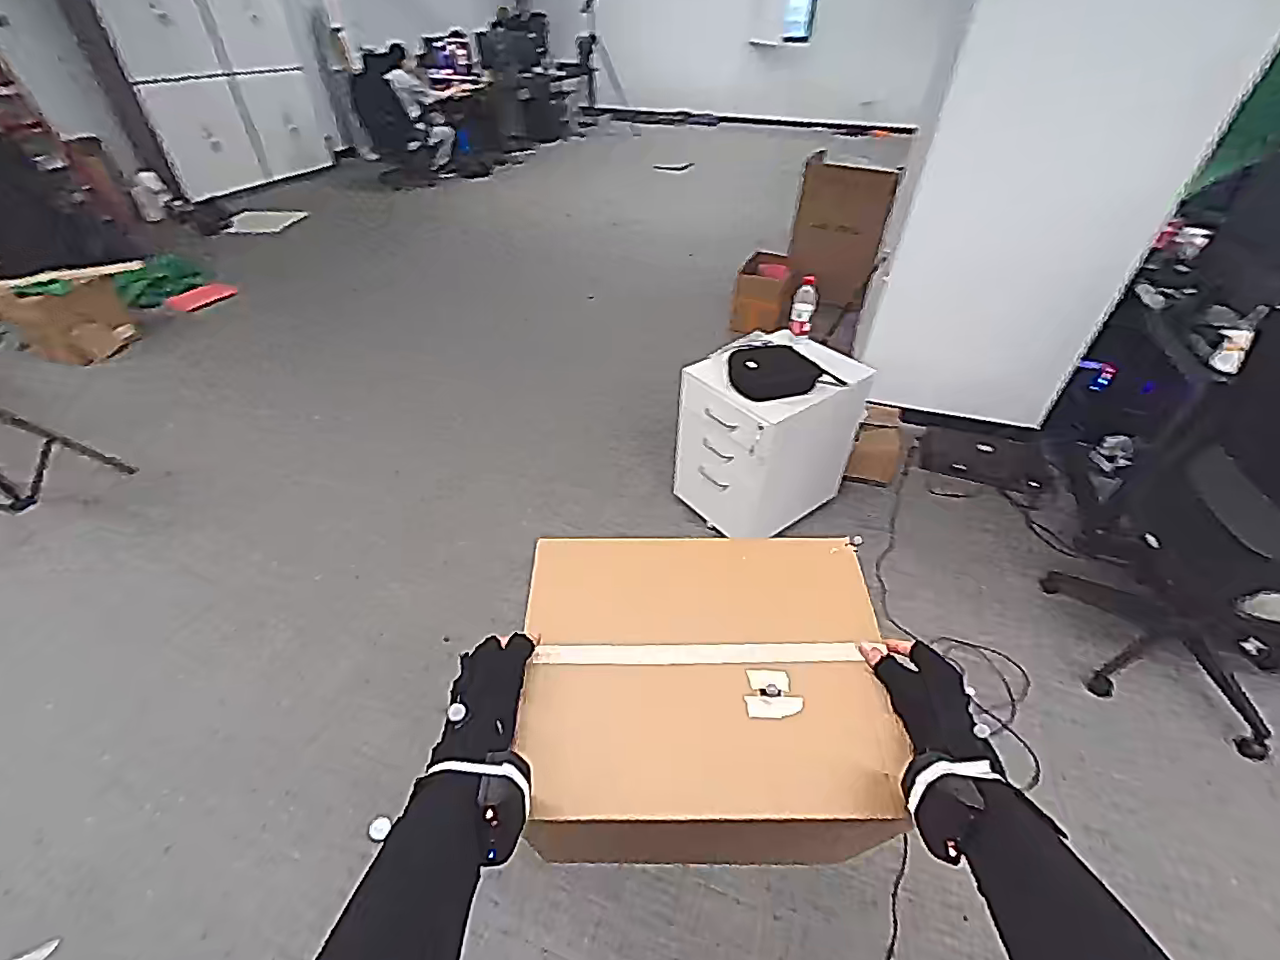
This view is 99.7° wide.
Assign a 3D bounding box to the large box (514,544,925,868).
[{"bbox_3d":[0.070,0.302,0.720,0.408,0.320,0.320,-1,49,-1],"label":"large box"}]
